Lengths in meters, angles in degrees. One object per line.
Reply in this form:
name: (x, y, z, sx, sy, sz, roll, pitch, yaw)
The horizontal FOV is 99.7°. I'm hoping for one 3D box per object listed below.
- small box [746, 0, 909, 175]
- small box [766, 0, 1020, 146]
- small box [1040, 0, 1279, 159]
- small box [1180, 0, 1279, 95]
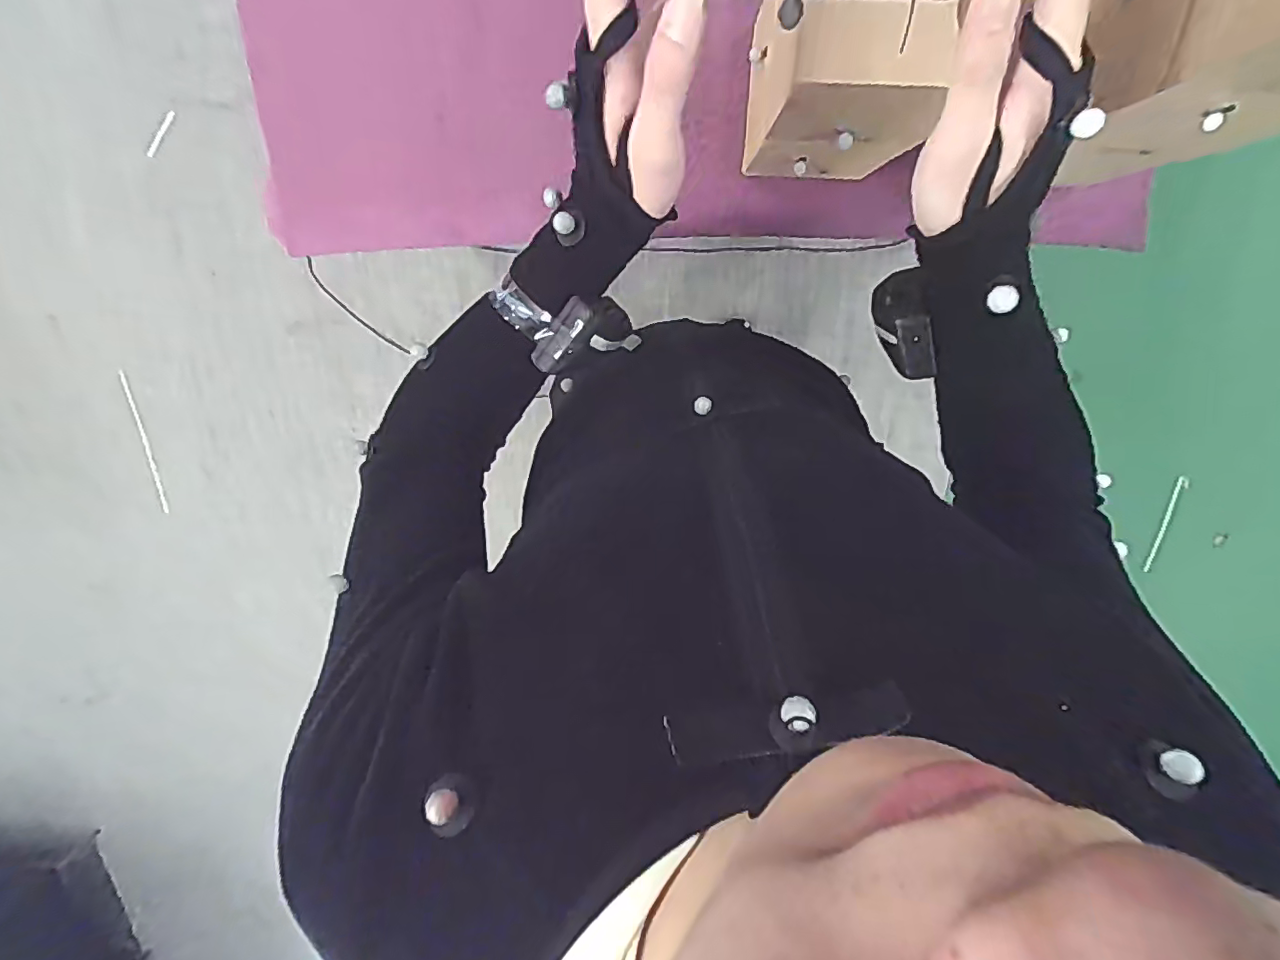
small box: (0.221, -0.471, 0.634, 0.168, 0.176, 0.179, 3, 108, 3)
small box: (0.212, -0.421, 0.478, 0.168, 0.176, 0.179, 4, 109, 3)
small box: (0.493, -0.401, 0.463, 0.168, 0.176, 0.179, 6, 108, 3)
small box: (0.482, -0.349, 0.306, 0.168, 0.176, 0.179, 6, 110, 3)
